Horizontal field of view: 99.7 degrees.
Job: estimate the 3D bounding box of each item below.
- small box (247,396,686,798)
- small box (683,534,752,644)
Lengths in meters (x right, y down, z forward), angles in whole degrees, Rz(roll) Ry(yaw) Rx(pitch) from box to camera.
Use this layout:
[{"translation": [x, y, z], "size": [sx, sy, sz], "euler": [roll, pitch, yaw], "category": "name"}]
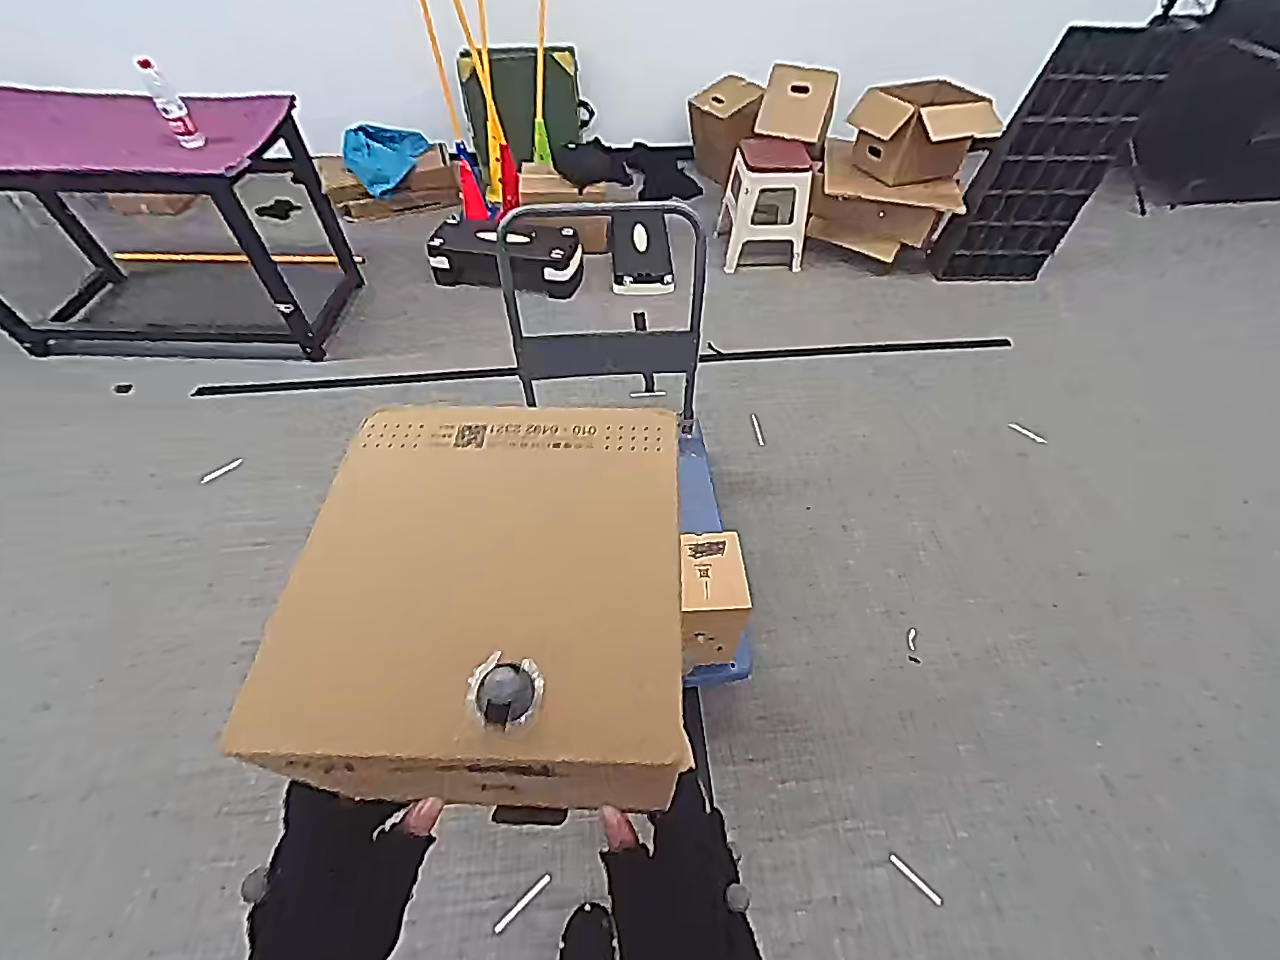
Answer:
[{"translation": [-0.061, 0.074, 0.311], "size": [0.168, 0.179, 0.176], "euler": [1, 54, 1], "category": "small box"}, {"translation": [0.127, 0.231, 1.142], "size": [0.168, 0.176, 0.179], "euler": [-2, 53, -3], "category": "small box"}]
